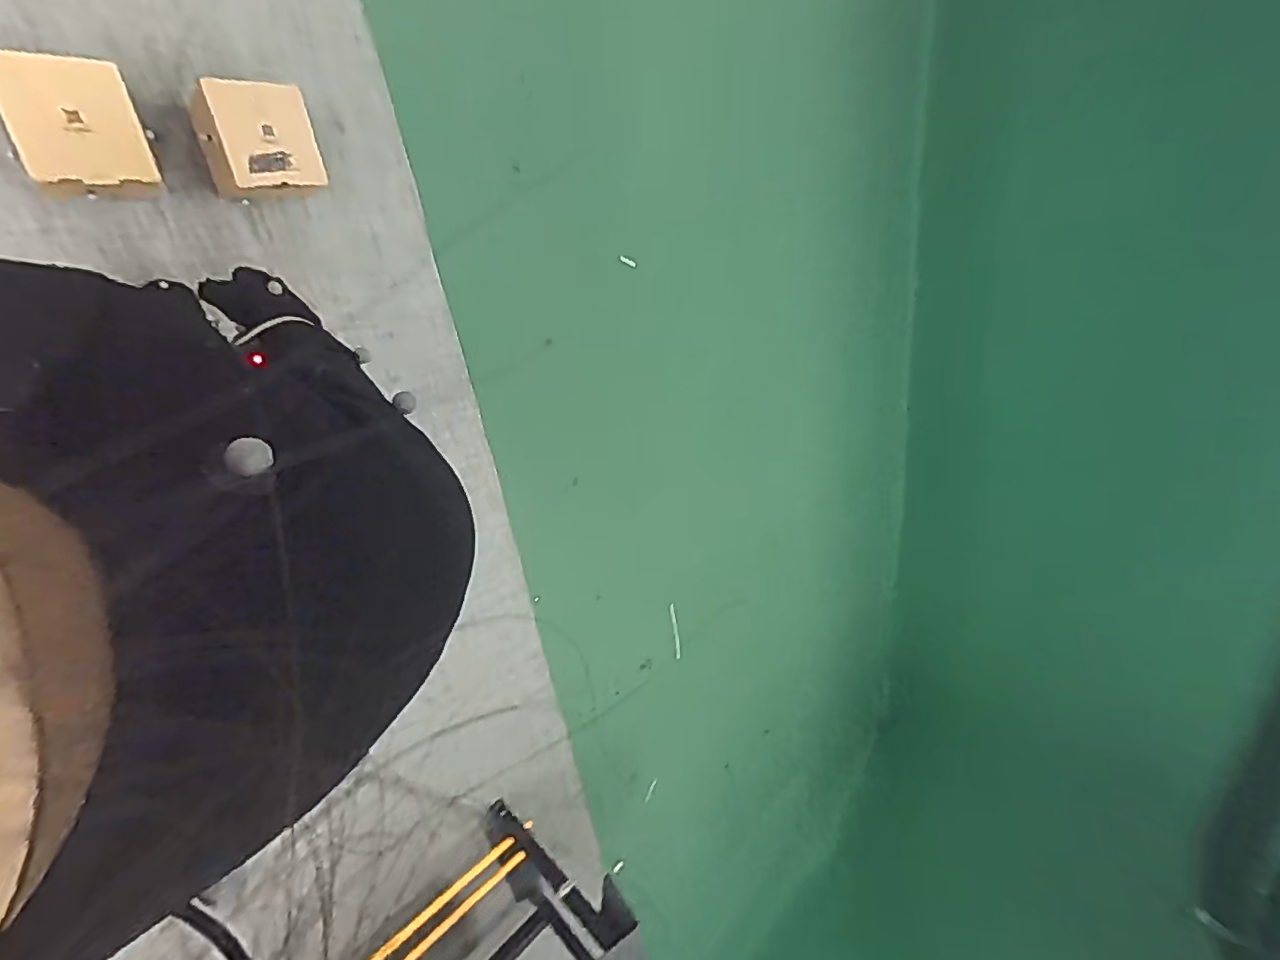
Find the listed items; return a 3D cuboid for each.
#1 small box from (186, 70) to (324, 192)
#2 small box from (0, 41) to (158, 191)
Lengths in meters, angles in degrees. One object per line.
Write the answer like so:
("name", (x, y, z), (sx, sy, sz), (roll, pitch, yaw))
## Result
("small box", (-0.768, -0.682, 1.081), (0.168, 0.176, 0.179), (-27, 119, -38))
("small box", (-0.959, -0.599, 0.911), (0.168, 0.176, 0.179), (-26, 120, -38))
